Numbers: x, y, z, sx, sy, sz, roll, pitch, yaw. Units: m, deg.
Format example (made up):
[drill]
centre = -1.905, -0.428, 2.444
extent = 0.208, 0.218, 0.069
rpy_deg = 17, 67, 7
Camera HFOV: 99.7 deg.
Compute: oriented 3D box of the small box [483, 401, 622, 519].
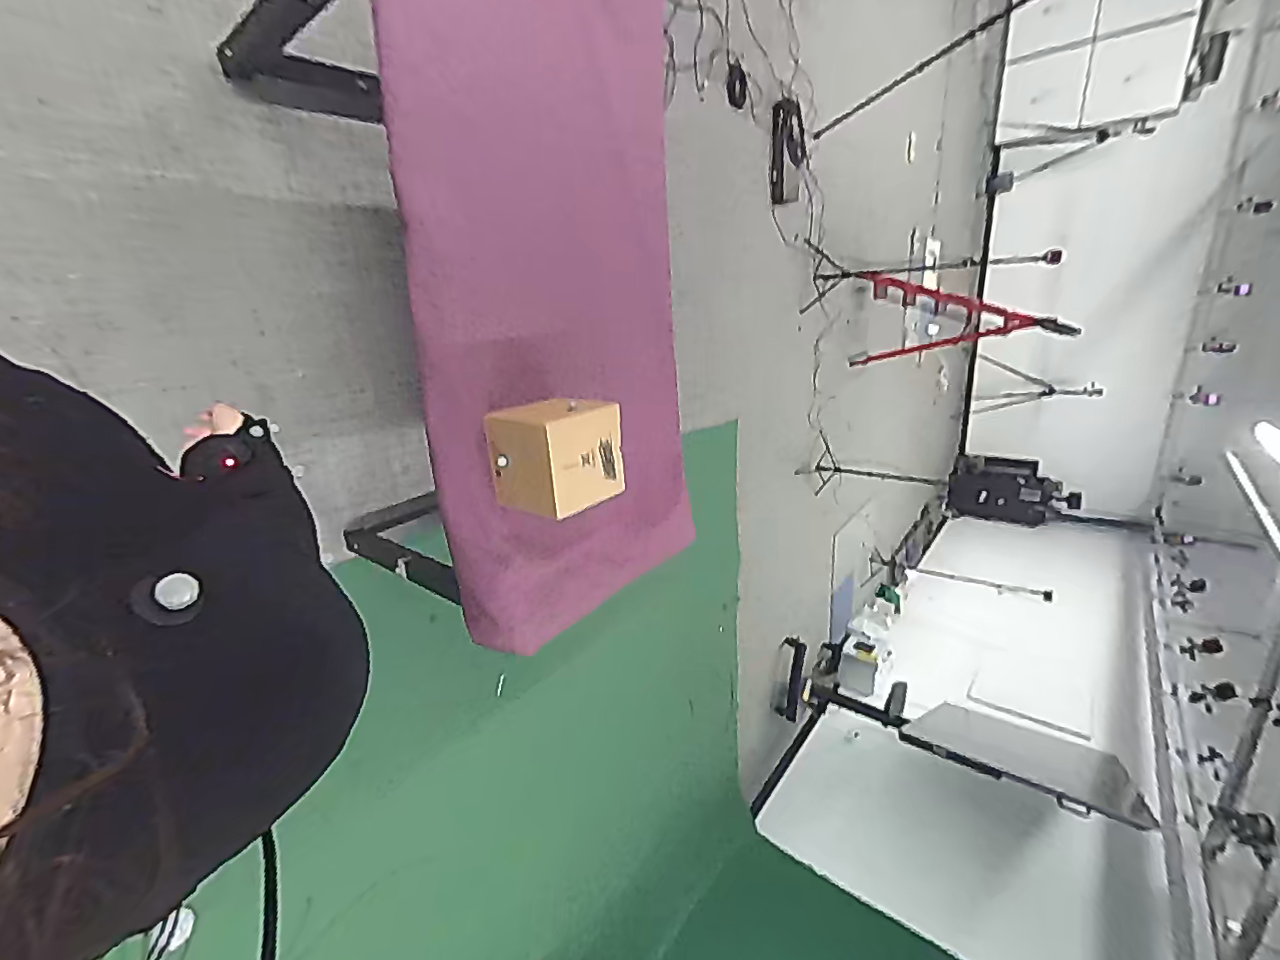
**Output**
[small box]
centre = -0.155, -0.046, 0.977
extent = 0.179, 0.176, 0.168
rpy_deg = -24, 116, -47
